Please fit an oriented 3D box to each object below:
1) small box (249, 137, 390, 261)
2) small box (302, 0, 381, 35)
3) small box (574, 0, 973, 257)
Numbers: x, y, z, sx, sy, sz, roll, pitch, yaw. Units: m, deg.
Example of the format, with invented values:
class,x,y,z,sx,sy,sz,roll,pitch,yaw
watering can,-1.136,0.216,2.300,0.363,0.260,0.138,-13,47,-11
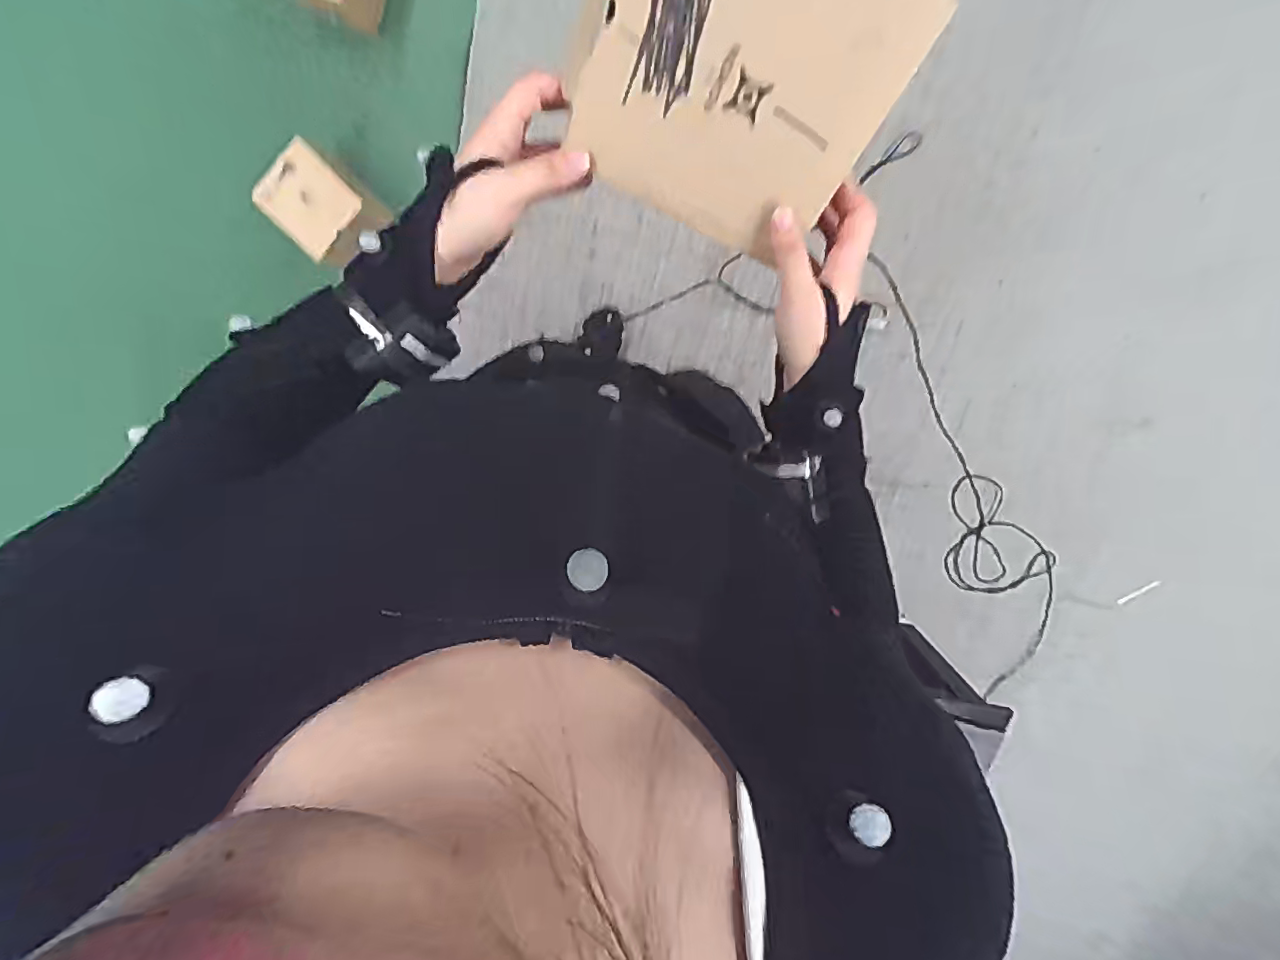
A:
class,x,y,z,sx,sy,sz,roll,pitch,yaw
small box,-0.698,-0.611,1.203,0.168,0.176,0.179,-41,105,10
small box,-0.618,-1.045,1.072,0.168,0.176,0.179,20,104,-10
small box,0.076,-0.292,0.370,0.179,0.176,0.168,22,133,-12
